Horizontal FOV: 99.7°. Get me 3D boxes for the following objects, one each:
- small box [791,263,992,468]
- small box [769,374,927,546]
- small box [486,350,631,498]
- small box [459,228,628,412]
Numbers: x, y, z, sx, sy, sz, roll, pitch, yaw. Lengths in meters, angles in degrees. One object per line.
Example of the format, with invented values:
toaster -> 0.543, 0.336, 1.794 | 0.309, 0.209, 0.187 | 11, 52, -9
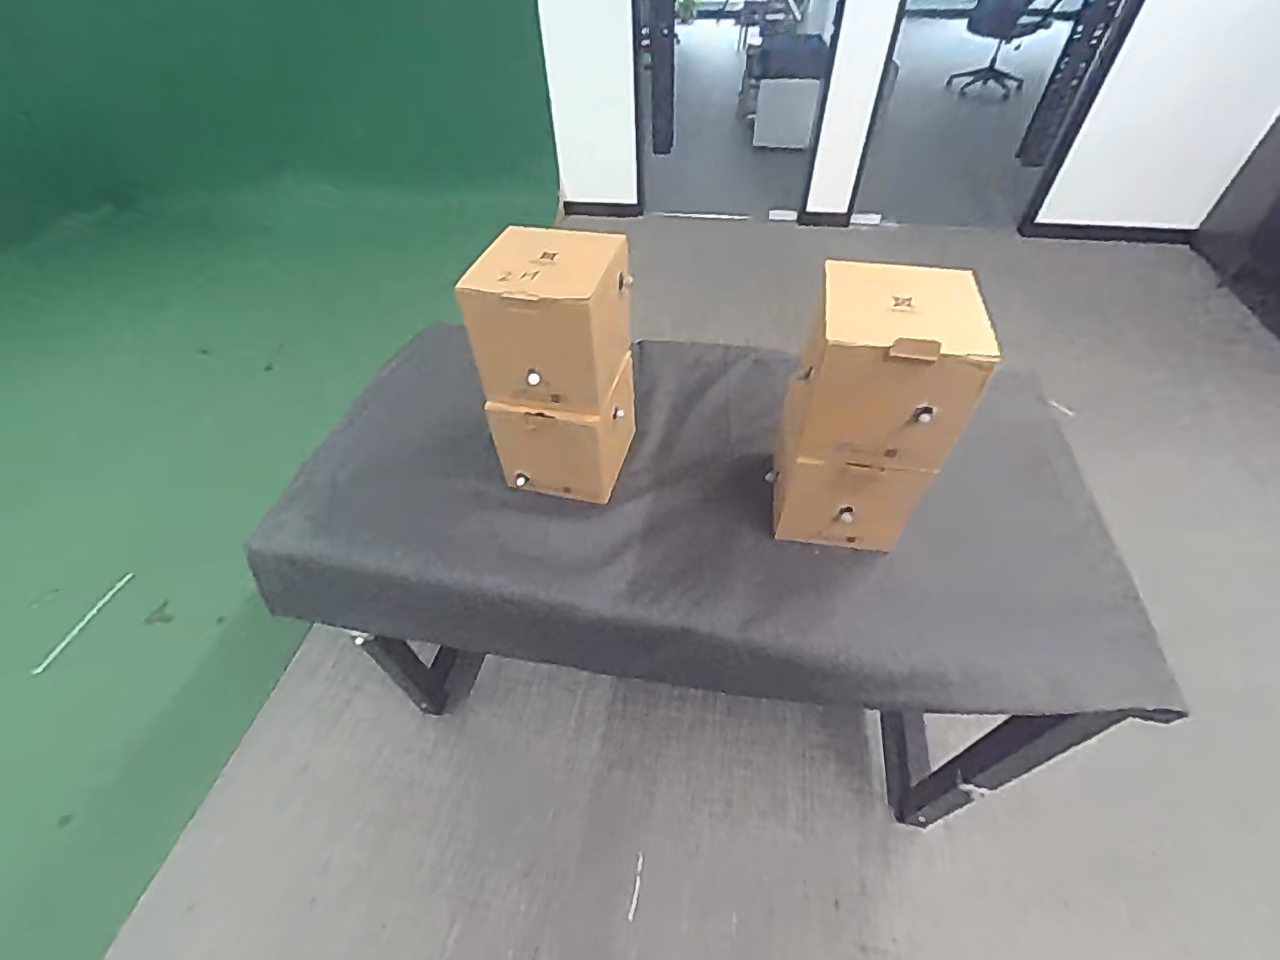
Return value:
small box -> 0.282, -0.135, 0.648 | 0.168, 0.176, 0.179 | 9, 48, 9
small box -> 0.281, -0.026, 0.769 | 0.168, 0.176, 0.179 | 6, 49, 7
small box -> -0.112, -0.094, 0.843 | 0.168, 0.176, 0.179 | 10, 48, 11
small box -> -0.115, -0.217, 0.732 | 0.168, 0.176, 0.179 | 8, 48, 10
